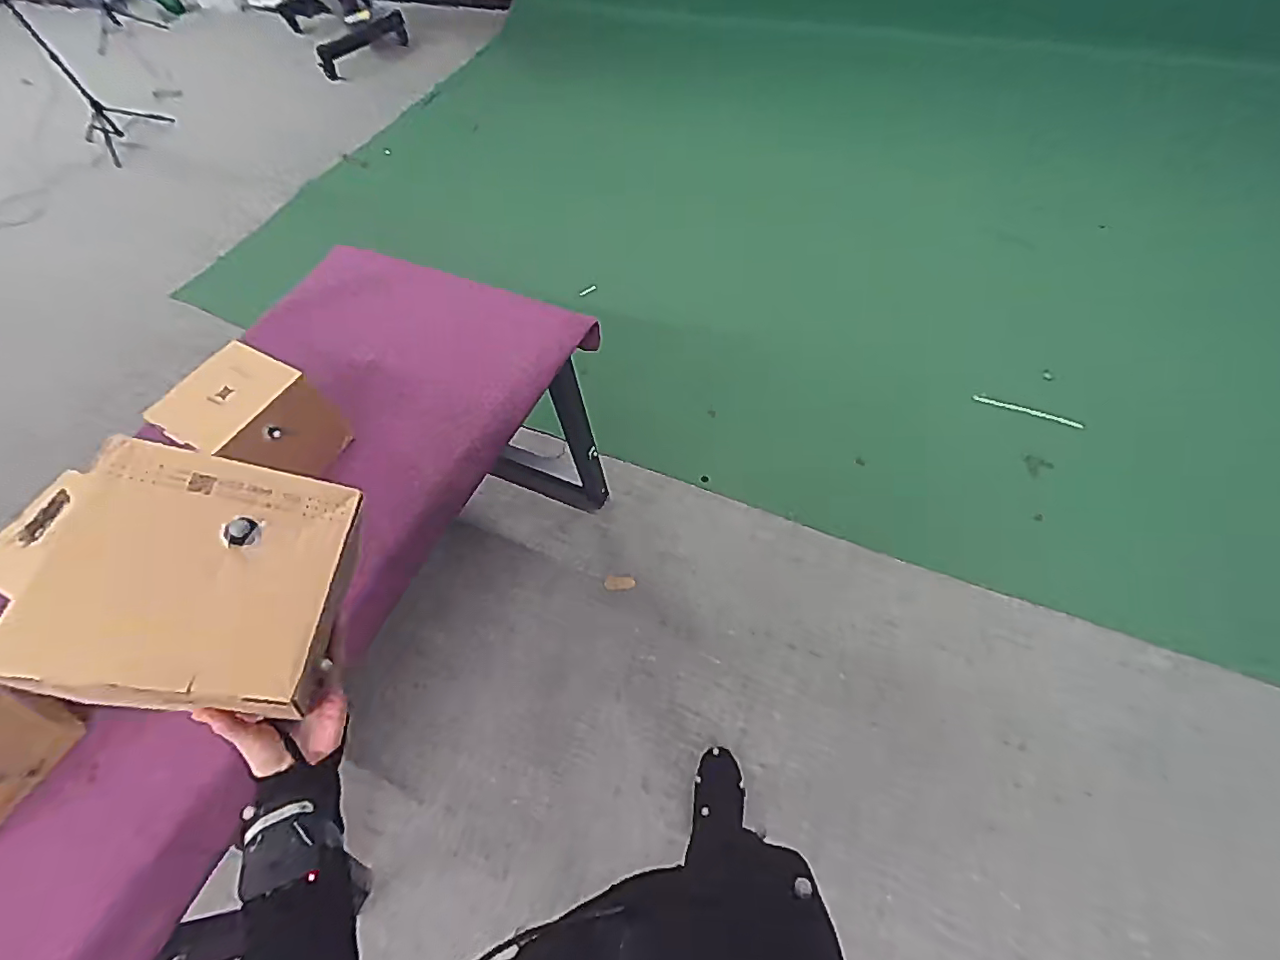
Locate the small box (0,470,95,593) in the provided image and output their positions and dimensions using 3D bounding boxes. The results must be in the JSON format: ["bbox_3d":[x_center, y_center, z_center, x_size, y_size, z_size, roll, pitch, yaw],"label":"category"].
[{"bbox_3d":[-0.740,0.116,0.772,0.179,0.176,0.168,18,62,15],"label":"small box"}]

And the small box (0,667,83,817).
[{"bbox_3d":[-0.861,0.325,0.656,0.179,0.176,0.168,23,63,17],"label":"small box"}]

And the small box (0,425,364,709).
[{"bbox_3d":[-0.342,0.083,0.448,0.168,0.179,0.176,16,58,-21],"label":"small box"}]

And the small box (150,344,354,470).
[{"bbox_3d":[-0.615,-0.083,0.882,0.168,0.176,0.179,25,64,19],"label":"small box"}]
